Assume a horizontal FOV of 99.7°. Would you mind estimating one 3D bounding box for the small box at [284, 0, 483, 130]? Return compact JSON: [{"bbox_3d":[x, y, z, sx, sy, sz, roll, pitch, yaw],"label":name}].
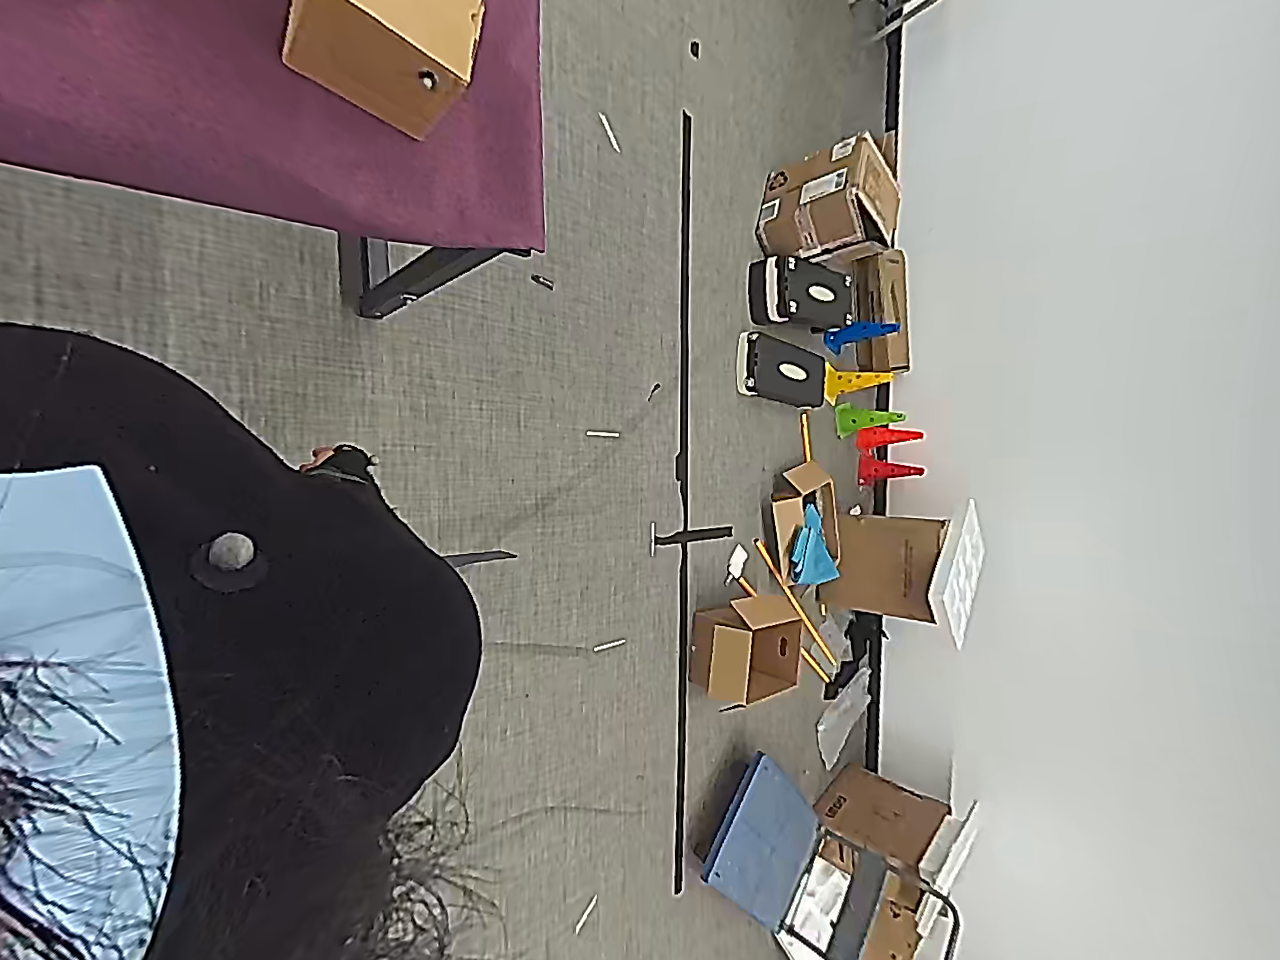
[{"bbox_3d":[-0.315,-0.580,0.666,0.179,0.176,0.168,11,85,-43],"label":"small box"}]
